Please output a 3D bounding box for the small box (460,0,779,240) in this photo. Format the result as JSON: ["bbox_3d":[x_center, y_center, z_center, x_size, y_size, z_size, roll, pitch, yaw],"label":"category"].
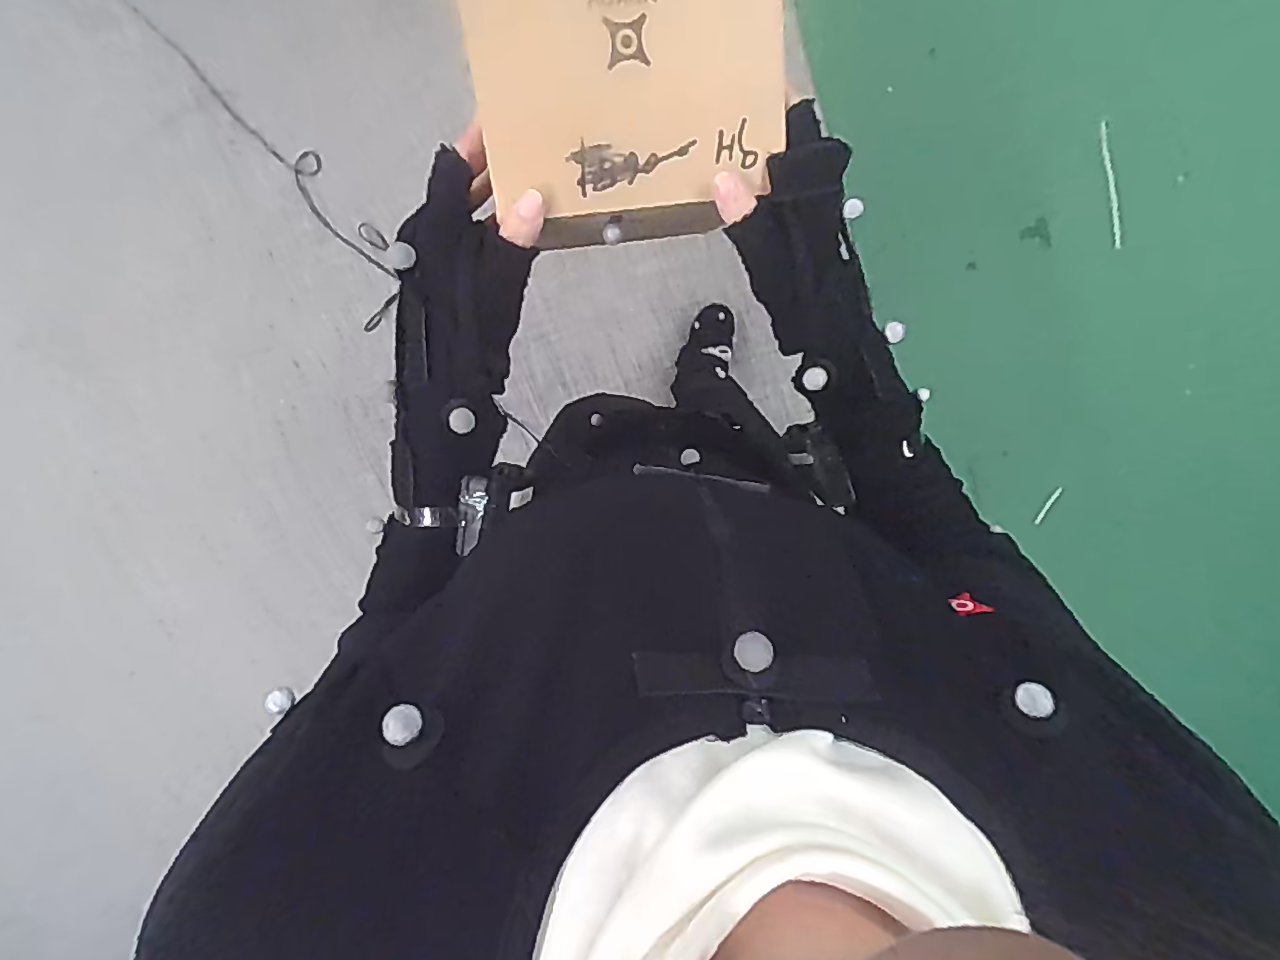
[{"bbox_3d":[-0.021,-0.271,0.353,0.168,0.176,0.179,-9,107,-4],"label":"small box"}]
